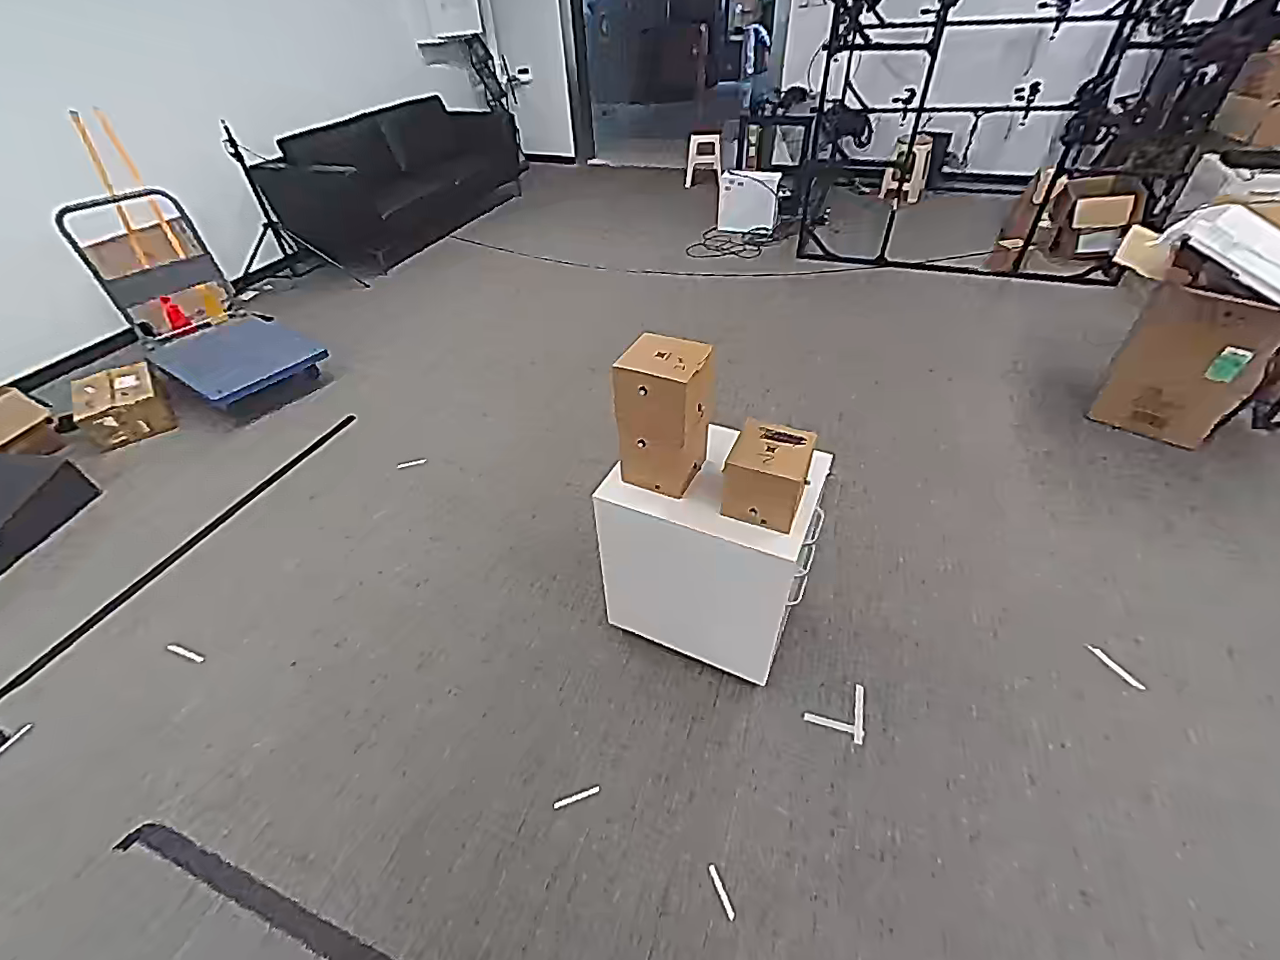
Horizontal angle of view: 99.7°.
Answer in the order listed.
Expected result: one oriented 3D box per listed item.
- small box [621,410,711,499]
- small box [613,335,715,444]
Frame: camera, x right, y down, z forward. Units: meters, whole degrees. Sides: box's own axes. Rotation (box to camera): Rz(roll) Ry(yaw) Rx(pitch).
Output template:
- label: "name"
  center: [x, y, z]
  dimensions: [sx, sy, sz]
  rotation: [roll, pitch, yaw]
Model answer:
- label: "small box"
  center: [0.064, -0.084, 1.338]
  dimensions: [0.168, 0.176, 0.179]
  rotation: [18, 45, 21]
- label: "small box"
  center: [0.057, -0.204, 1.225]
  dimensions: [0.179, 0.176, 0.168]
  rotation: [18, 47, 20]
